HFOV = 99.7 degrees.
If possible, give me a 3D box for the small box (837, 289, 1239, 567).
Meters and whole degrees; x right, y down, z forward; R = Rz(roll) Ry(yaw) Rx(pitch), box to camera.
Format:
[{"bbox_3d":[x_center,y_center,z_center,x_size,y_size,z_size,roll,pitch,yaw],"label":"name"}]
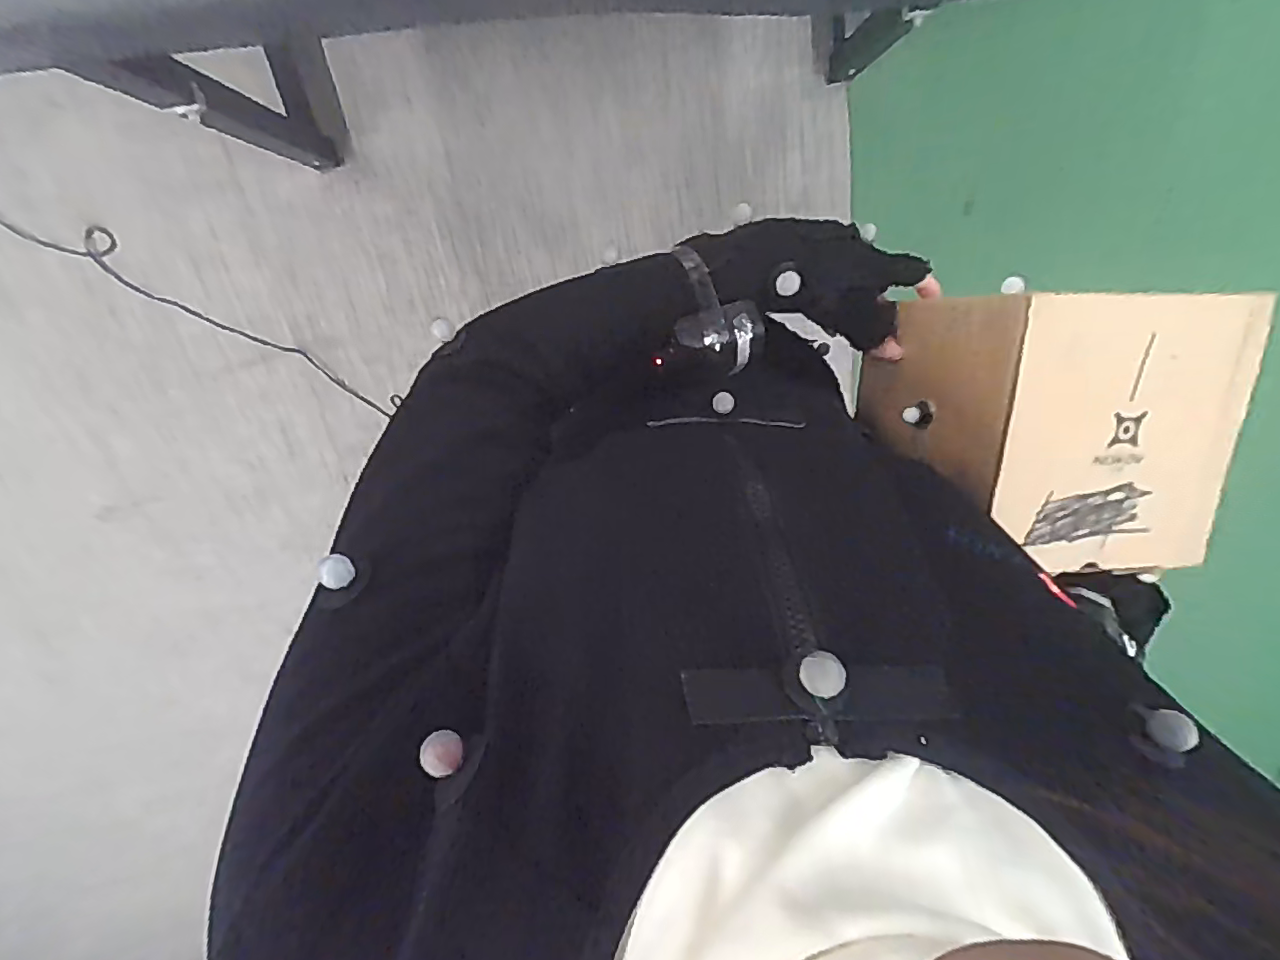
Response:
[{"bbox_3d":[0.273,-0.048,0.418,0.168,0.176,0.179,-1,105,-9],"label":"small box"}]
